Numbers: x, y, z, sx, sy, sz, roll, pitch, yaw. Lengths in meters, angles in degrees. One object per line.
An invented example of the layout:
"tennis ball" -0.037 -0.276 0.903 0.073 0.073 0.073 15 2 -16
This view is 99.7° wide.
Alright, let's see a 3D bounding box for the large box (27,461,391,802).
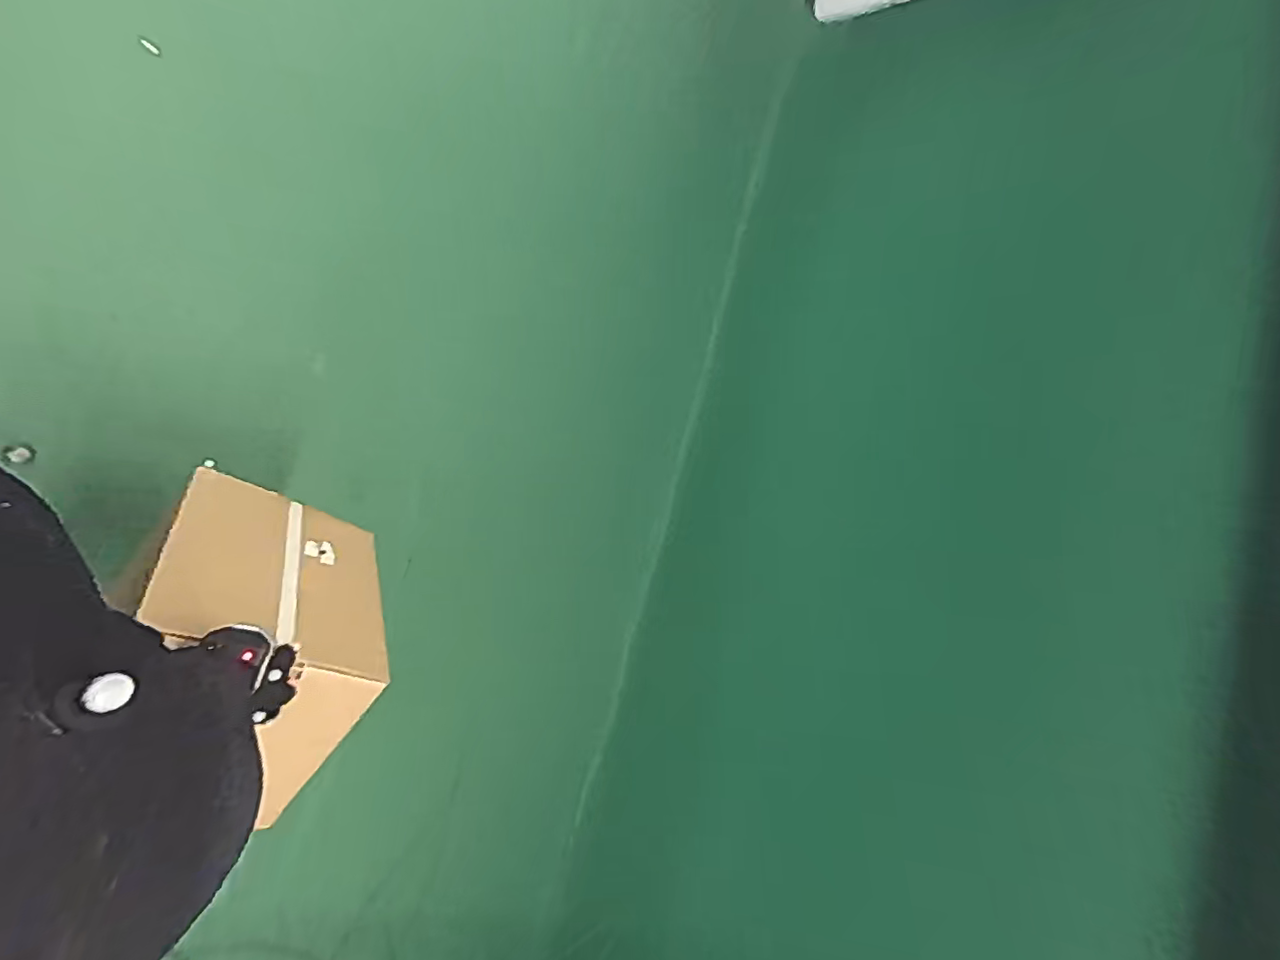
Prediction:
"large box" -0.654 0.239 0.882 0.320 0.408 0.320 34 97 -40
